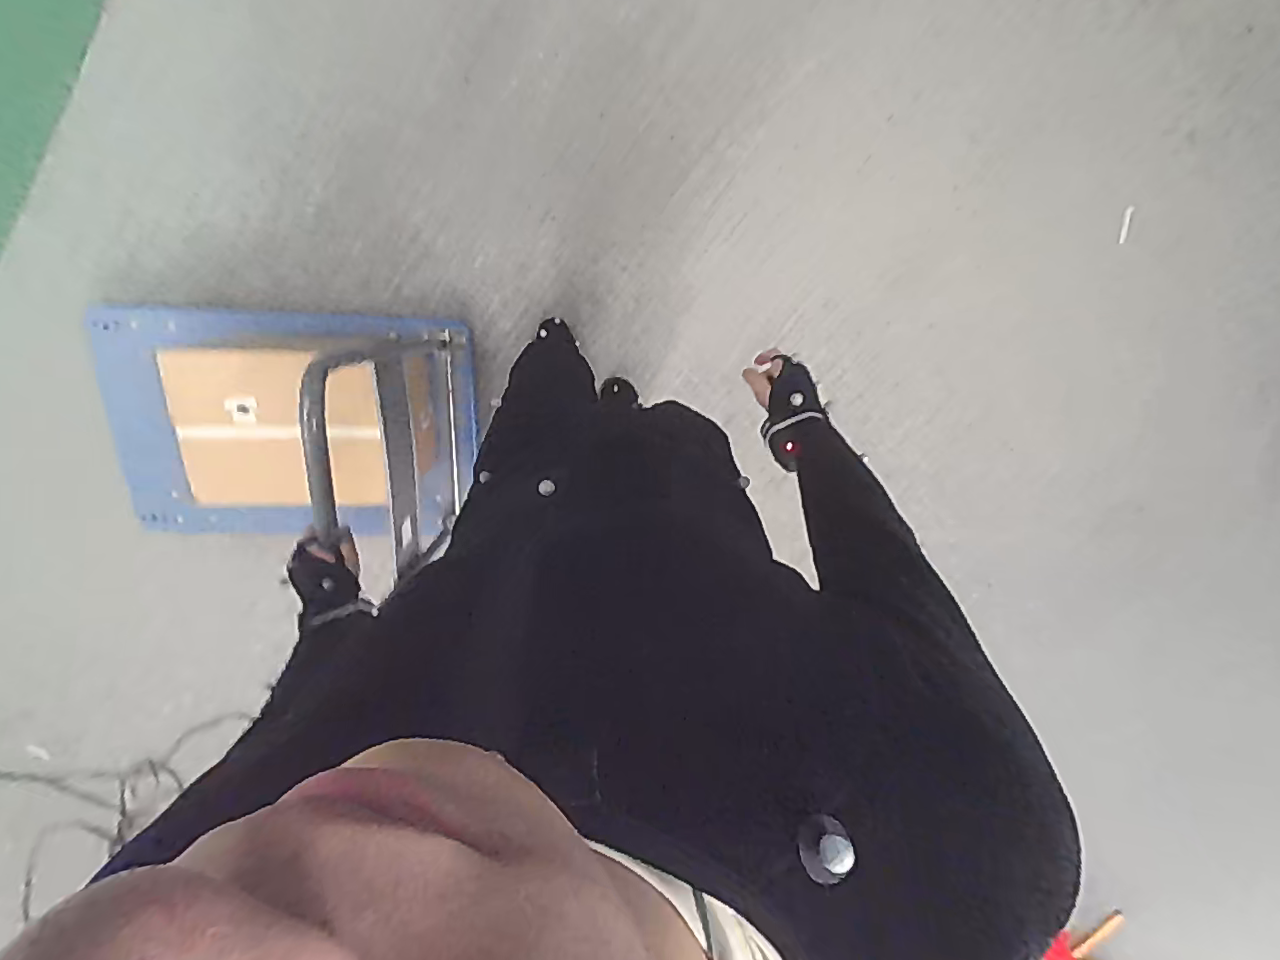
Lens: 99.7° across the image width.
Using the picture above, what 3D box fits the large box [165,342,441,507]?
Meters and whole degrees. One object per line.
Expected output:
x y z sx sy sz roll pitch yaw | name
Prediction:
-0.702 -0.139 1.208 0.408 0.320 0.320 0 108 -5 | large box
